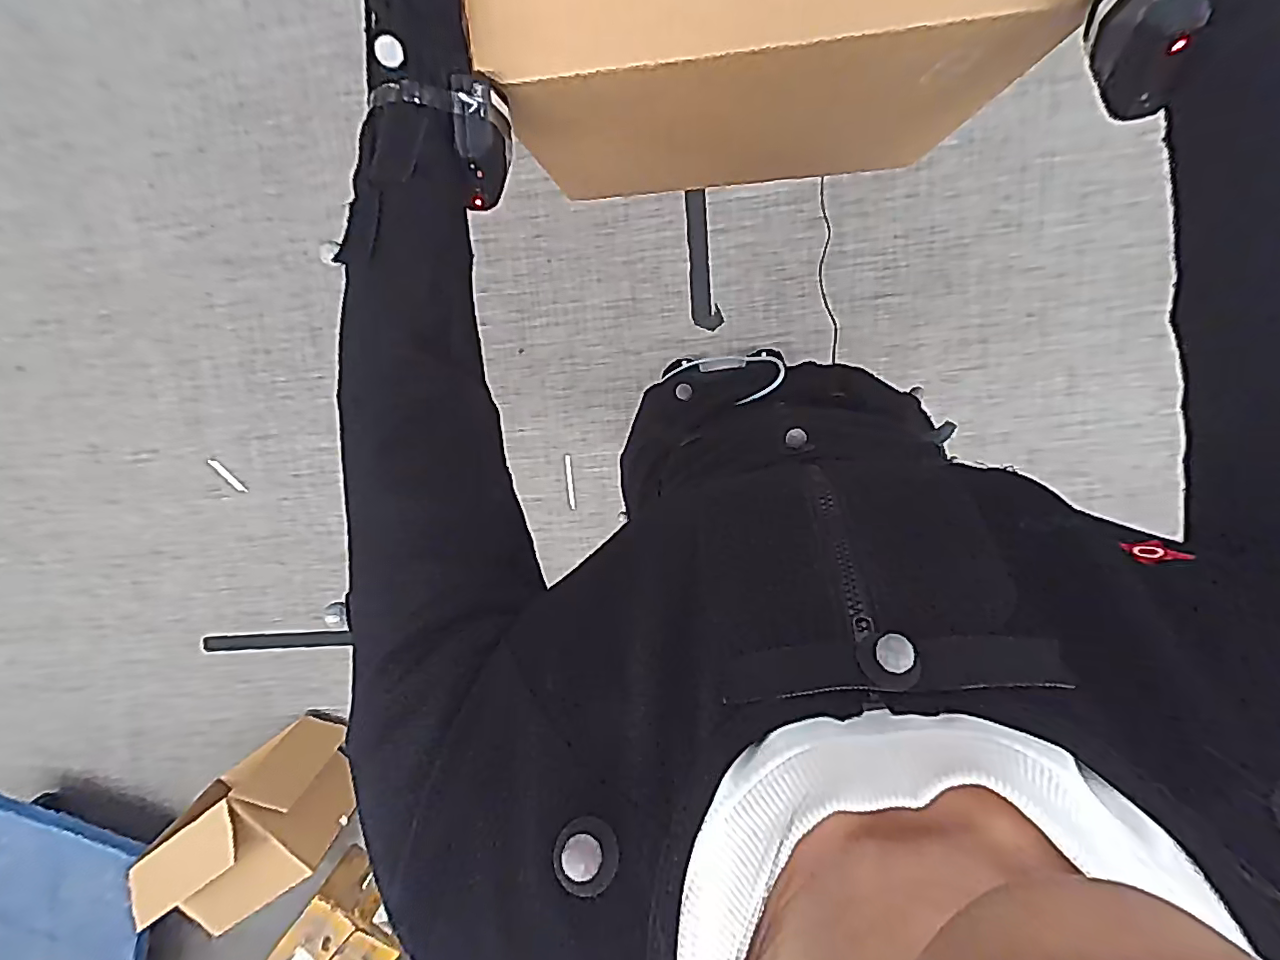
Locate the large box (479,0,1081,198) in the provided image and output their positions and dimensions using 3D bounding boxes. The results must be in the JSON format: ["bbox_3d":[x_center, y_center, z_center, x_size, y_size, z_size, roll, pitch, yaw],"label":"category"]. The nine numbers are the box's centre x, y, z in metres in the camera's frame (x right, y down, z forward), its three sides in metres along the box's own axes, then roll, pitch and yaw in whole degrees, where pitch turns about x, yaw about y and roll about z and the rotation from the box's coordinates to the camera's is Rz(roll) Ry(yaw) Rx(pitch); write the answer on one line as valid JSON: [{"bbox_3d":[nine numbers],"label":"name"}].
[{"bbox_3d":[0.088,-0.471,0.465,0.408,0.320,0.320,-4,104,5],"label":"large box"}]
